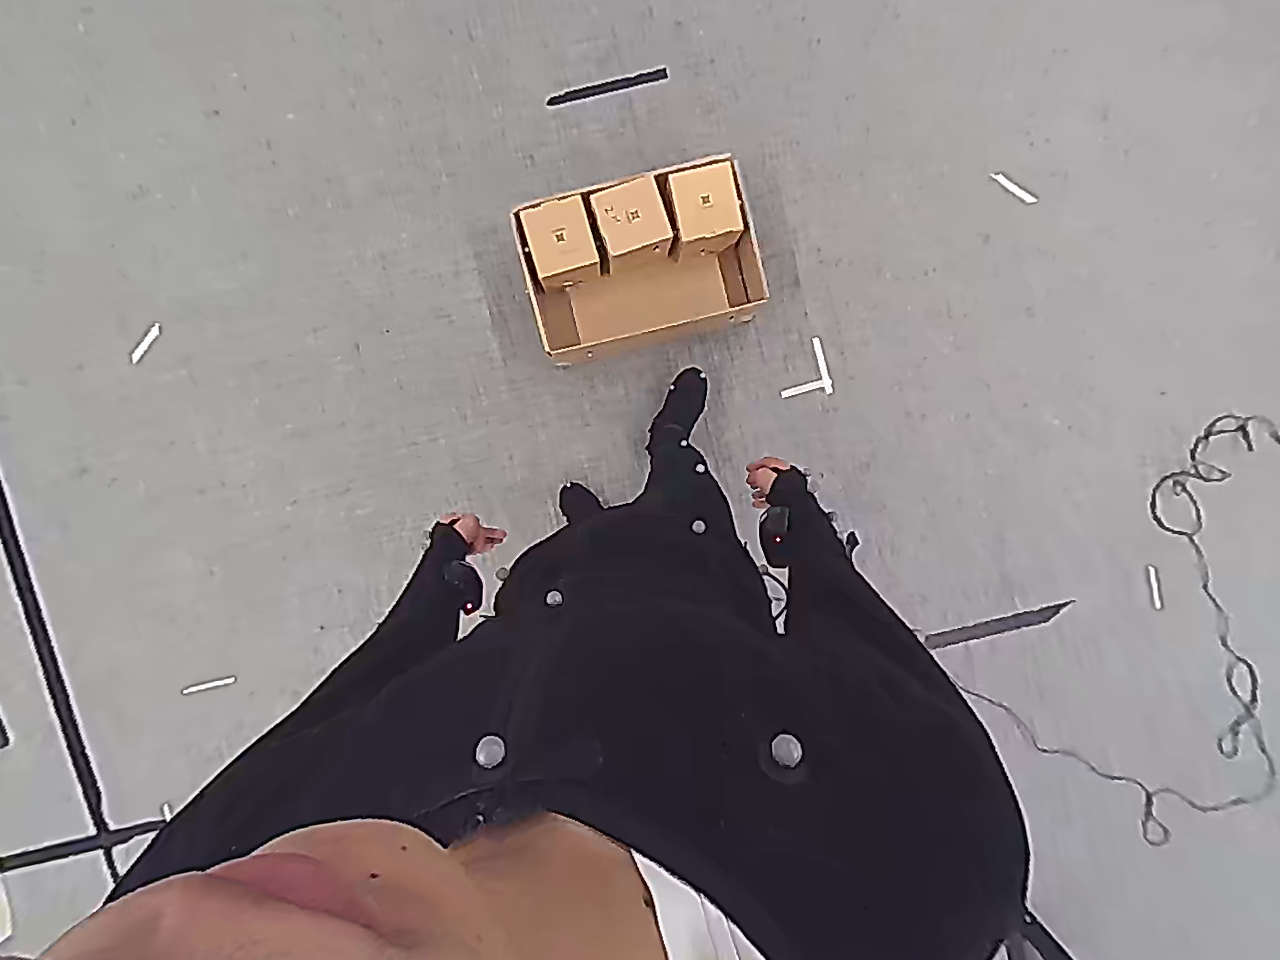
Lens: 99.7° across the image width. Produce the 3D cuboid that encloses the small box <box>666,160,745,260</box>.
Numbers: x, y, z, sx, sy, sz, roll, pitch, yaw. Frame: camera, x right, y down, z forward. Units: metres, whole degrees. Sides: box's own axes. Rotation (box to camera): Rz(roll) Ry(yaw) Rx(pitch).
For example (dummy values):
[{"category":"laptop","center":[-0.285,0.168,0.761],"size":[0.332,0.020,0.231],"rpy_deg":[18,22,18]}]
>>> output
[{"category":"small box","center":[0.171,-0.728,1.473],"size":[0.168,0.176,0.179],"rpy_deg":[-14,96,0]}]
